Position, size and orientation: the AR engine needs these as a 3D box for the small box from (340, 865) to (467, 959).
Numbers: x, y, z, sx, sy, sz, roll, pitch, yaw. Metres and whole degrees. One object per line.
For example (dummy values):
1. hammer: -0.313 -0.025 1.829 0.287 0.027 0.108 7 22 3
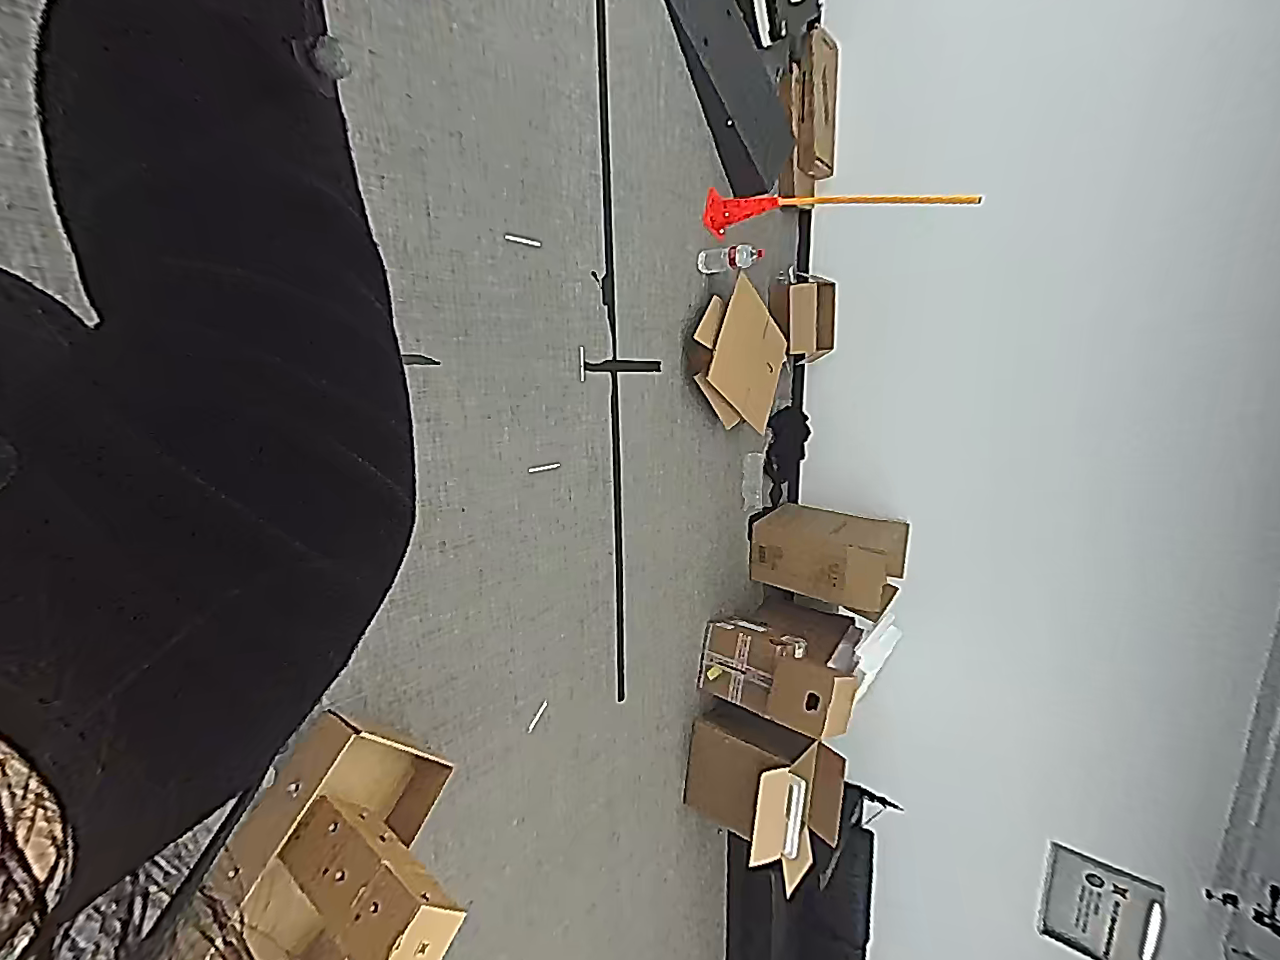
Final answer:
1. small box: -0.555 1.046 1.271 0.168 0.176 0.179 -59 138 -26

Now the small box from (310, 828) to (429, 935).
1. small box: -0.684 1.015 1.366 0.168 0.176 0.179 -58 137 -27
